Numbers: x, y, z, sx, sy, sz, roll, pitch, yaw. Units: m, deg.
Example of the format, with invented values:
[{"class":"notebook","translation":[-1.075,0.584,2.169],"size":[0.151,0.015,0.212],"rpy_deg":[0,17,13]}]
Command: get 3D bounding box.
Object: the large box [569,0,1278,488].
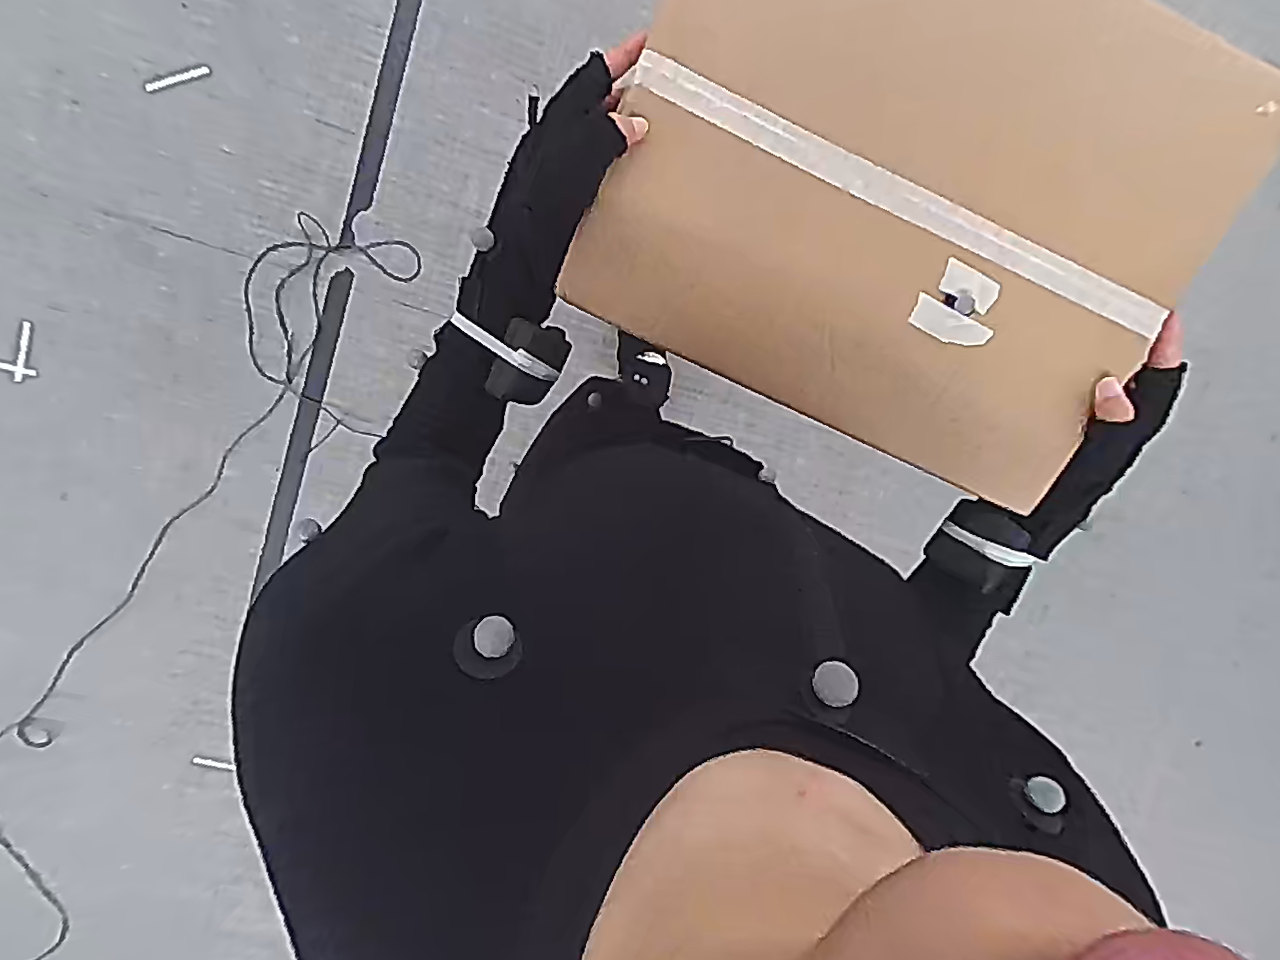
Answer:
[{"class":"large box","translation":[0.189,-0.243,0.527],"size":[0.408,0.320,0.320],"rpy_deg":[24,106,-5]}]
